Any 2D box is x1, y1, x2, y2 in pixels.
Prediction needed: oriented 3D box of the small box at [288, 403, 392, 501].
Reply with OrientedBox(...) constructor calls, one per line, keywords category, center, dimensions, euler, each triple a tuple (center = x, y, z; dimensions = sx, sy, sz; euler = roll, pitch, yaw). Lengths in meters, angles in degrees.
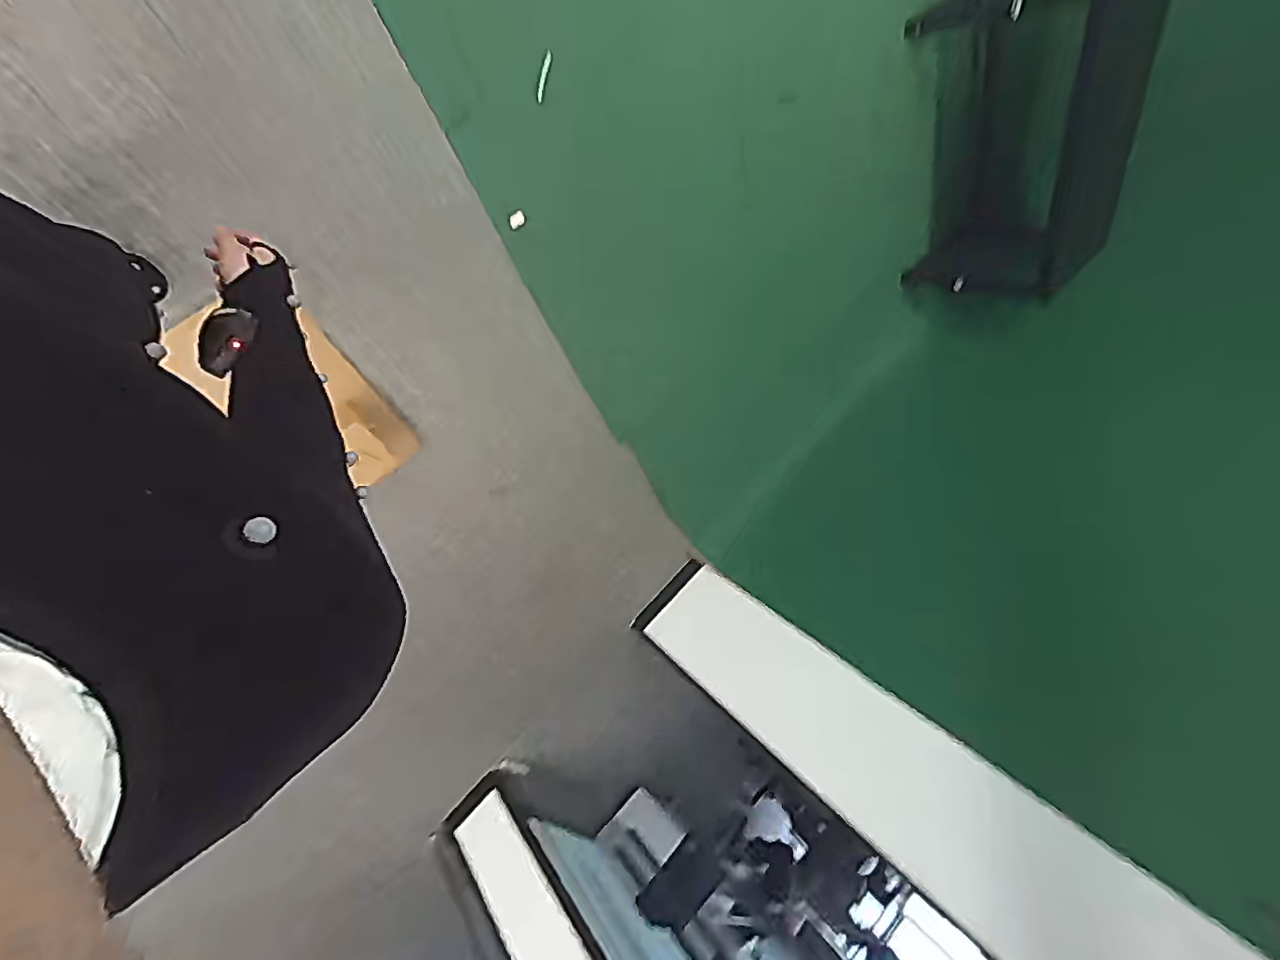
OrientedBox(category="small box", center=(-0.815, -0.080, 1.460), dimensions=(0.179, 0.176, 0.168), euler=(-42, 135, -17))
